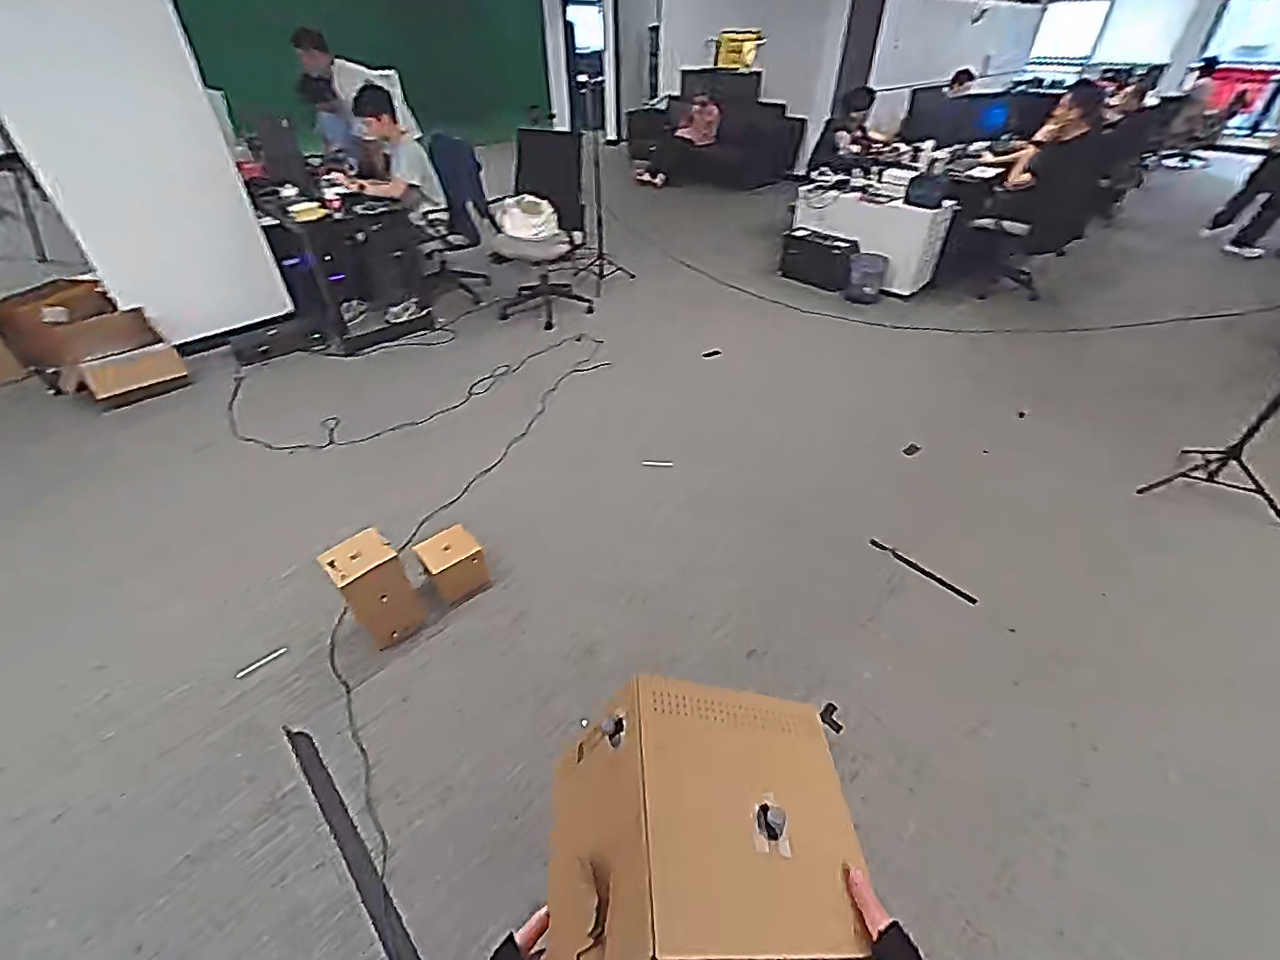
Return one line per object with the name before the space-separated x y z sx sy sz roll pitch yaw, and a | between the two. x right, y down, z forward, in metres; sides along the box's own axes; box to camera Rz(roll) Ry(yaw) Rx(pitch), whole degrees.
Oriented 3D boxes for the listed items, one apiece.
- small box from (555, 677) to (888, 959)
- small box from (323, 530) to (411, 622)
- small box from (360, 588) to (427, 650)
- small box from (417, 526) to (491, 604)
small box | 0.041 0.274 0.420 0.179 0.168 0.176 17 38 -21
small box | -0.818 0.291 1.641 0.179 0.176 0.168 -33 49 -32
small box | -0.820 0.413 1.750 0.168 0.176 0.179 -32 50 -31
small box | -0.644 0.299 1.888 0.179 0.176 0.168 -29 48 -31
